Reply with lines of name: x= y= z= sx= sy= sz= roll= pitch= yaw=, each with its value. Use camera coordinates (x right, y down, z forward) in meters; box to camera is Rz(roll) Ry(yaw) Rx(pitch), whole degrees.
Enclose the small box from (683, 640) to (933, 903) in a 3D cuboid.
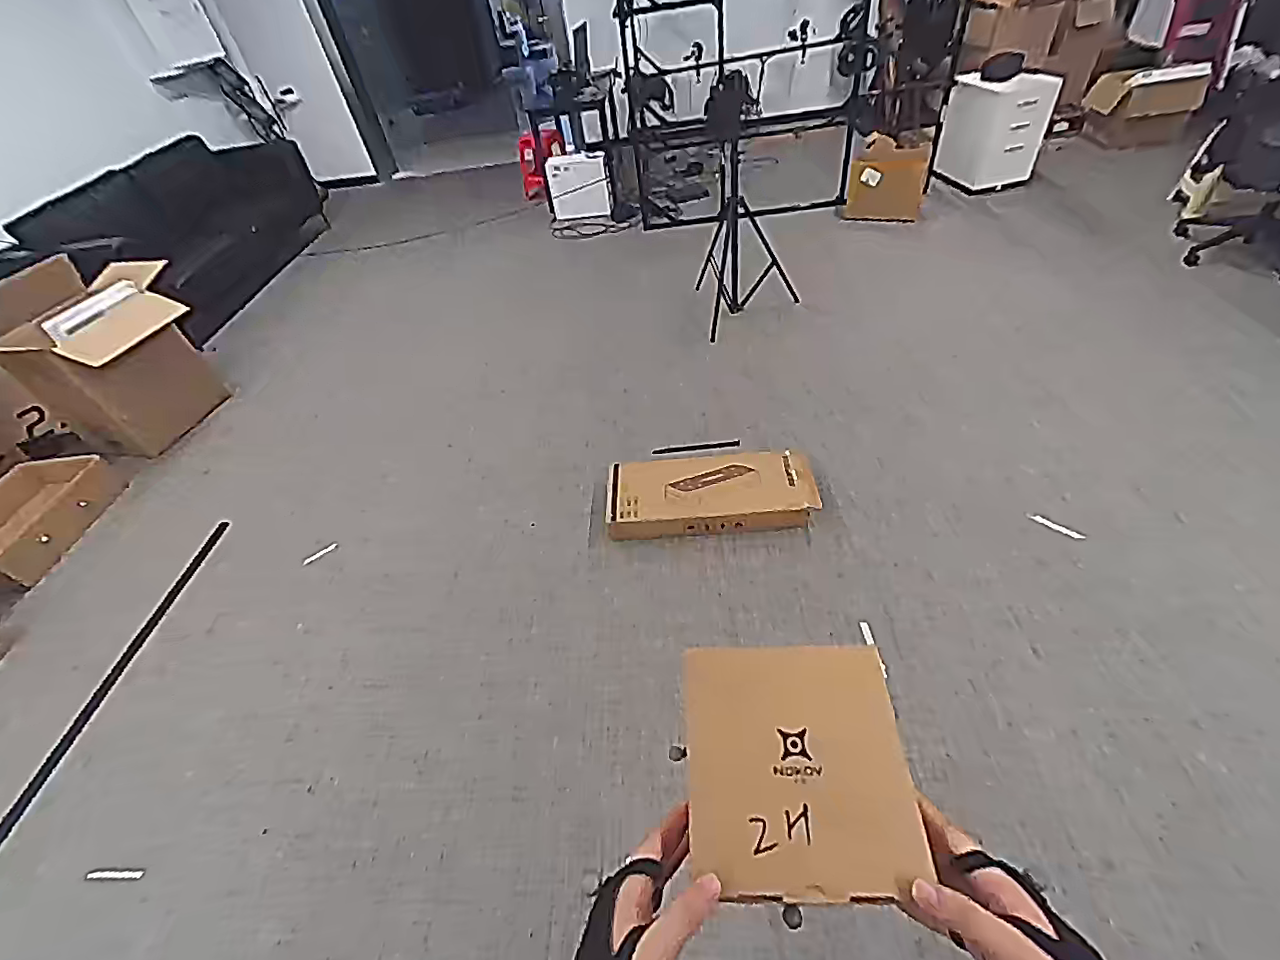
small box: x=0.122 y=0.258 z=0.478 sx=0.168 sy=0.176 sz=0.179 roll=-3 pitch=51 yaw=4
